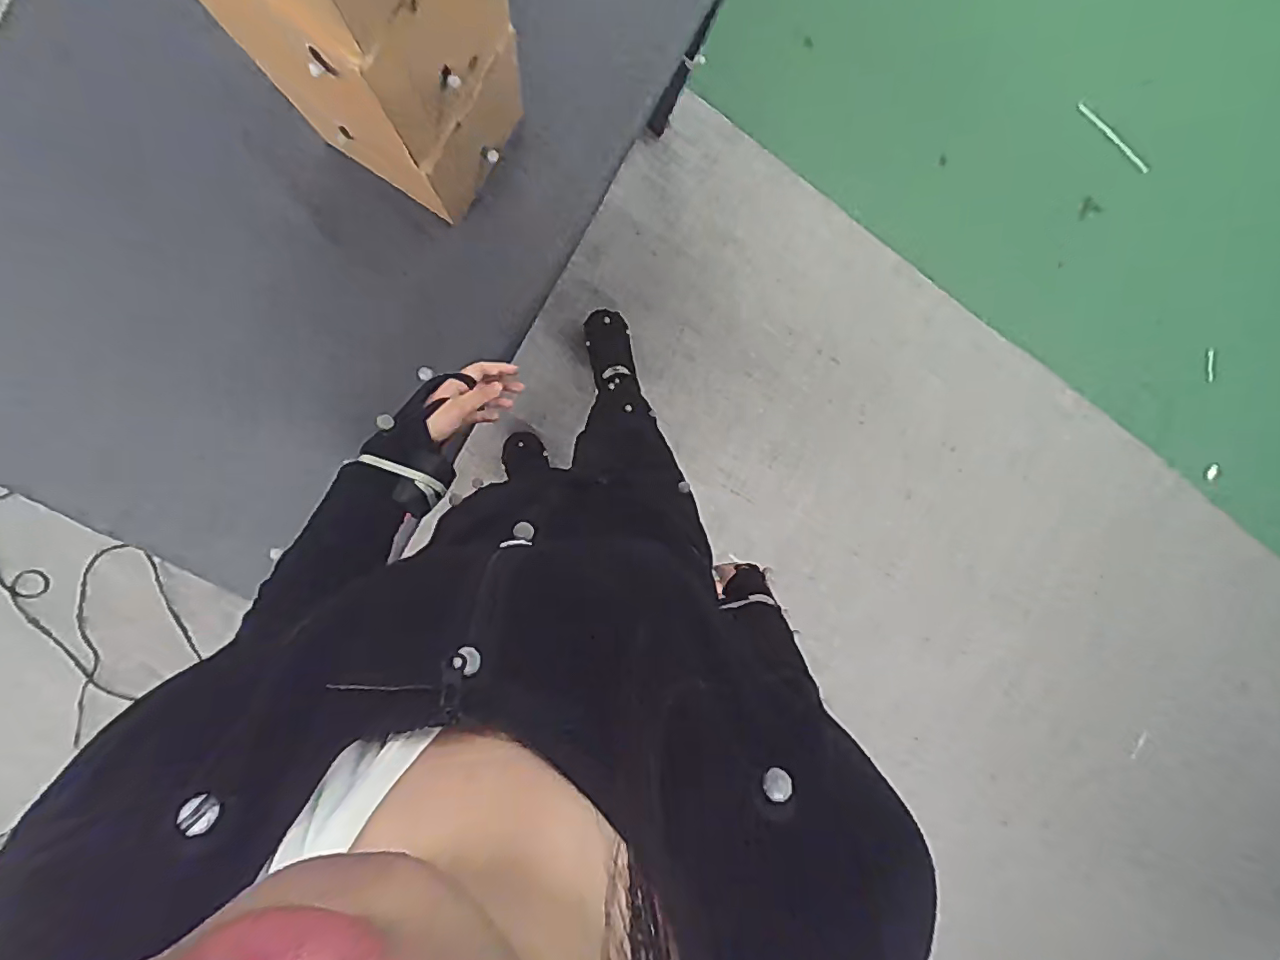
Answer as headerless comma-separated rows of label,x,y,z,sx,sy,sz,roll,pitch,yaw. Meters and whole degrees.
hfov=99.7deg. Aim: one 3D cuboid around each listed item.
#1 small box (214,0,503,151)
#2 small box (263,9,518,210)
small box,-0.223,-0.398,0.410,0.179,0.176,0.168,32,92,-14
small box,-0.246,-0.421,0.569,0.179,0.176,0.168,32,93,-14
